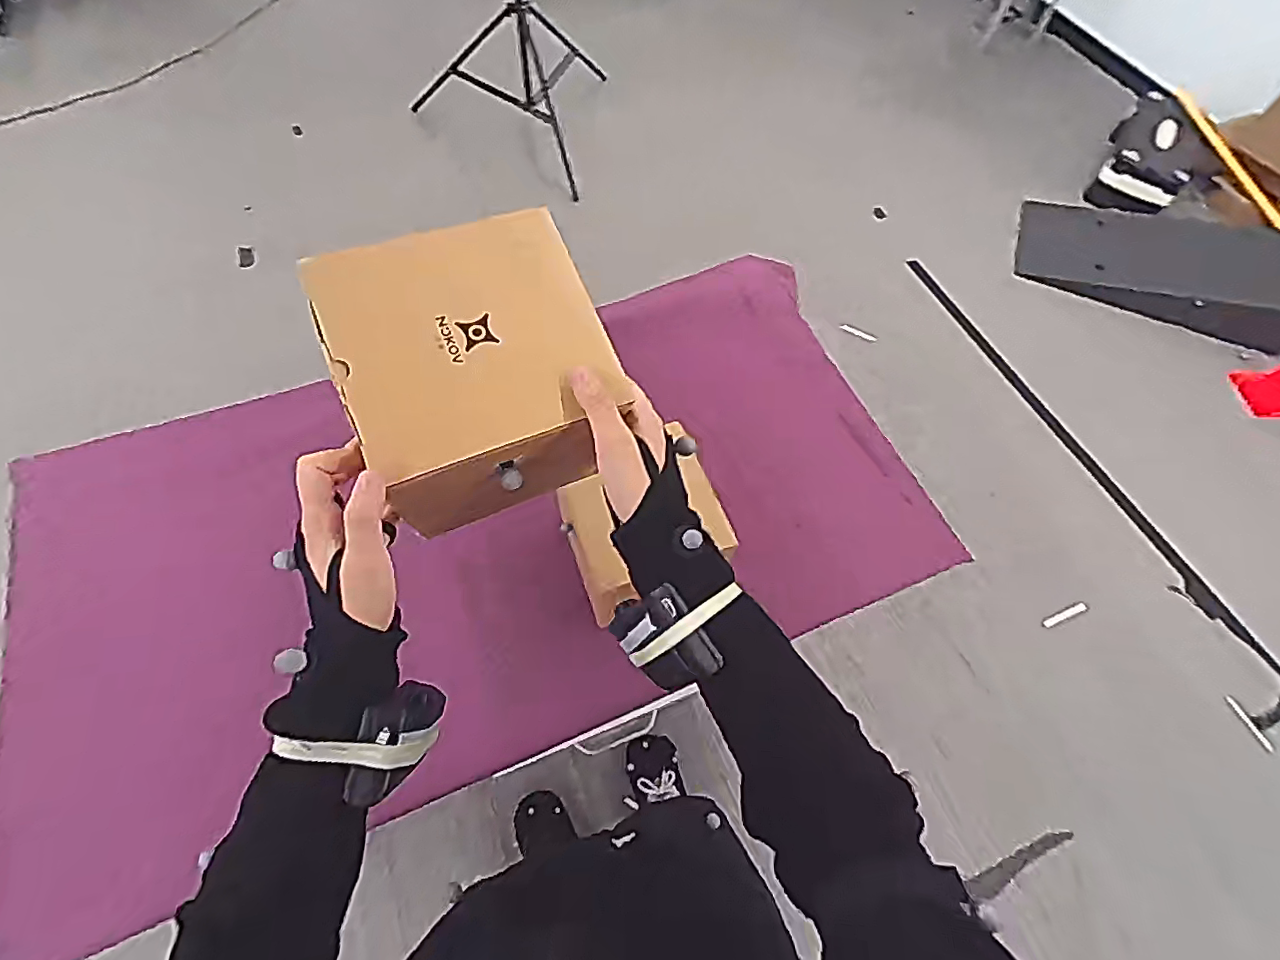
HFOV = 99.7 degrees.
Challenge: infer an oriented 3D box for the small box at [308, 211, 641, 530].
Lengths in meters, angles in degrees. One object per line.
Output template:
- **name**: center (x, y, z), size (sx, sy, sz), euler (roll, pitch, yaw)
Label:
- **small box**: center (-0.122, -0.074, 0.435), size (0.179, 0.176, 0.168), euler (-22, 80, -15)

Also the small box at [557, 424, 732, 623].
- **small box**: center (-0.007, 0.061, 0.692), size (0.168, 0.176, 0.179), euler (-18, 65, -12)
